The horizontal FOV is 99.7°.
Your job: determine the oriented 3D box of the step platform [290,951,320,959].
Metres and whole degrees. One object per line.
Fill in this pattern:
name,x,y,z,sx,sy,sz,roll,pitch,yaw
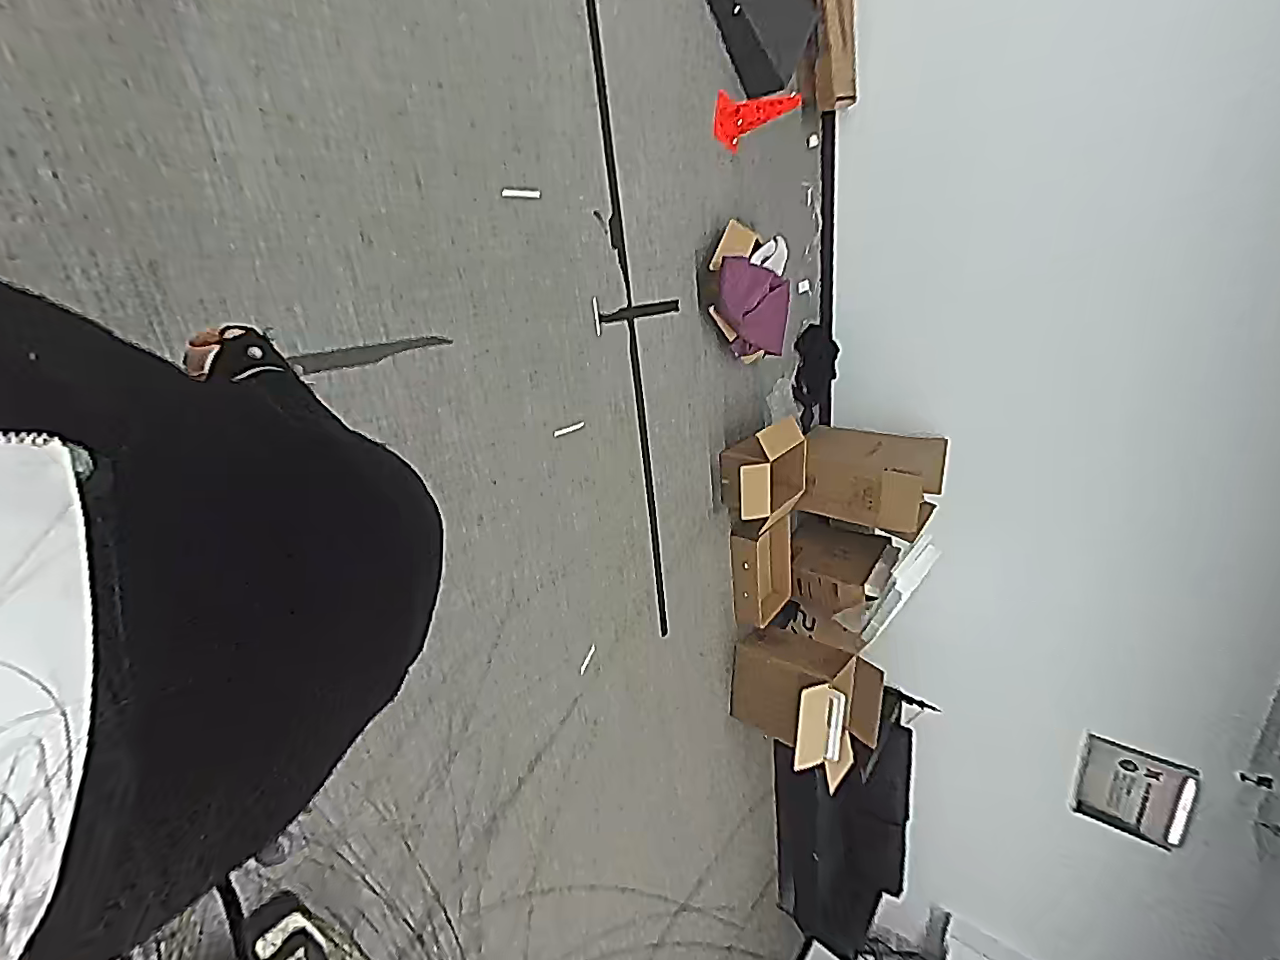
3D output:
step platform,-0.950,1.409,1.122,0.684,0.204,0.286,-30,121,-42
